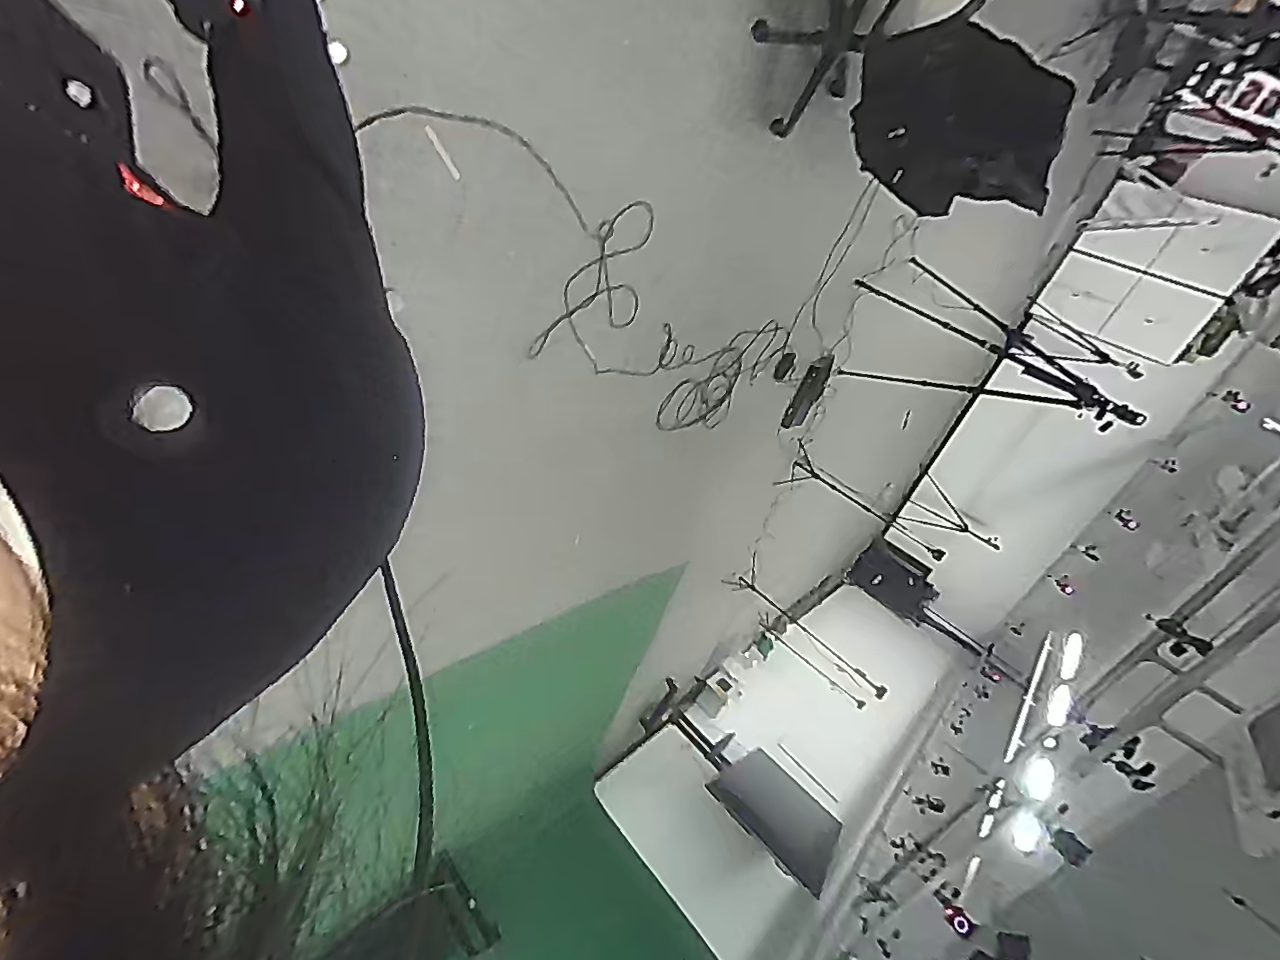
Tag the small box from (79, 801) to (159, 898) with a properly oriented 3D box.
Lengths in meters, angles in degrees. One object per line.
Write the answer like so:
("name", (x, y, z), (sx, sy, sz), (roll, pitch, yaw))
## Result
("small box", (-1.668, 1.186, 1.741), (0.168, 0.176, 0.179), (-15, 134, -46))
